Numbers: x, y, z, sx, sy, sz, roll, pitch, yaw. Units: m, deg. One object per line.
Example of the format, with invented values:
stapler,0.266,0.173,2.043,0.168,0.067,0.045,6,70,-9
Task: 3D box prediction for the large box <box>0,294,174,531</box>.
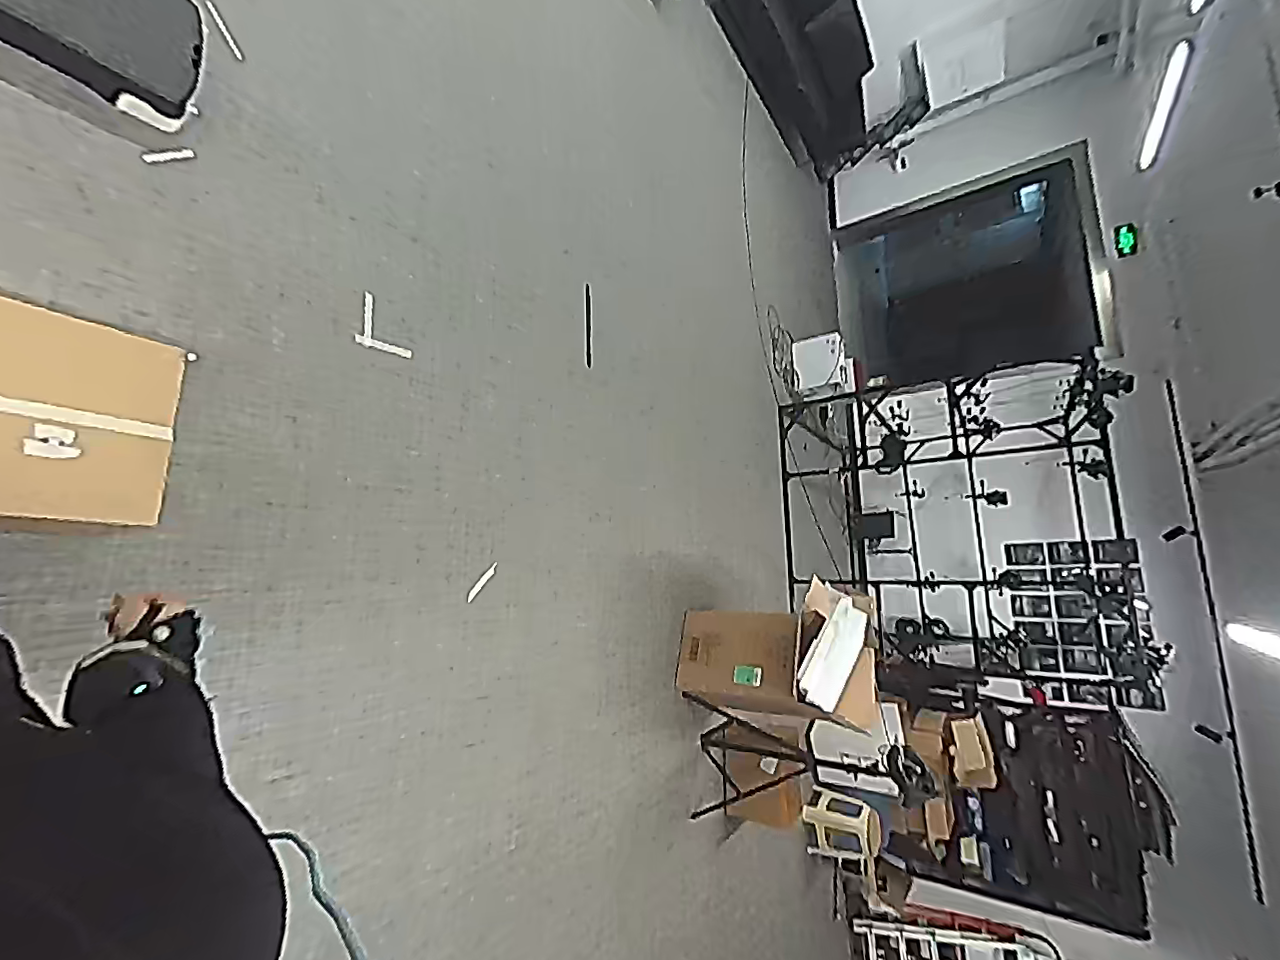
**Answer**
large box,-1.032,-0.098,0.813,0.408,0.320,0.320,18,70,-56
